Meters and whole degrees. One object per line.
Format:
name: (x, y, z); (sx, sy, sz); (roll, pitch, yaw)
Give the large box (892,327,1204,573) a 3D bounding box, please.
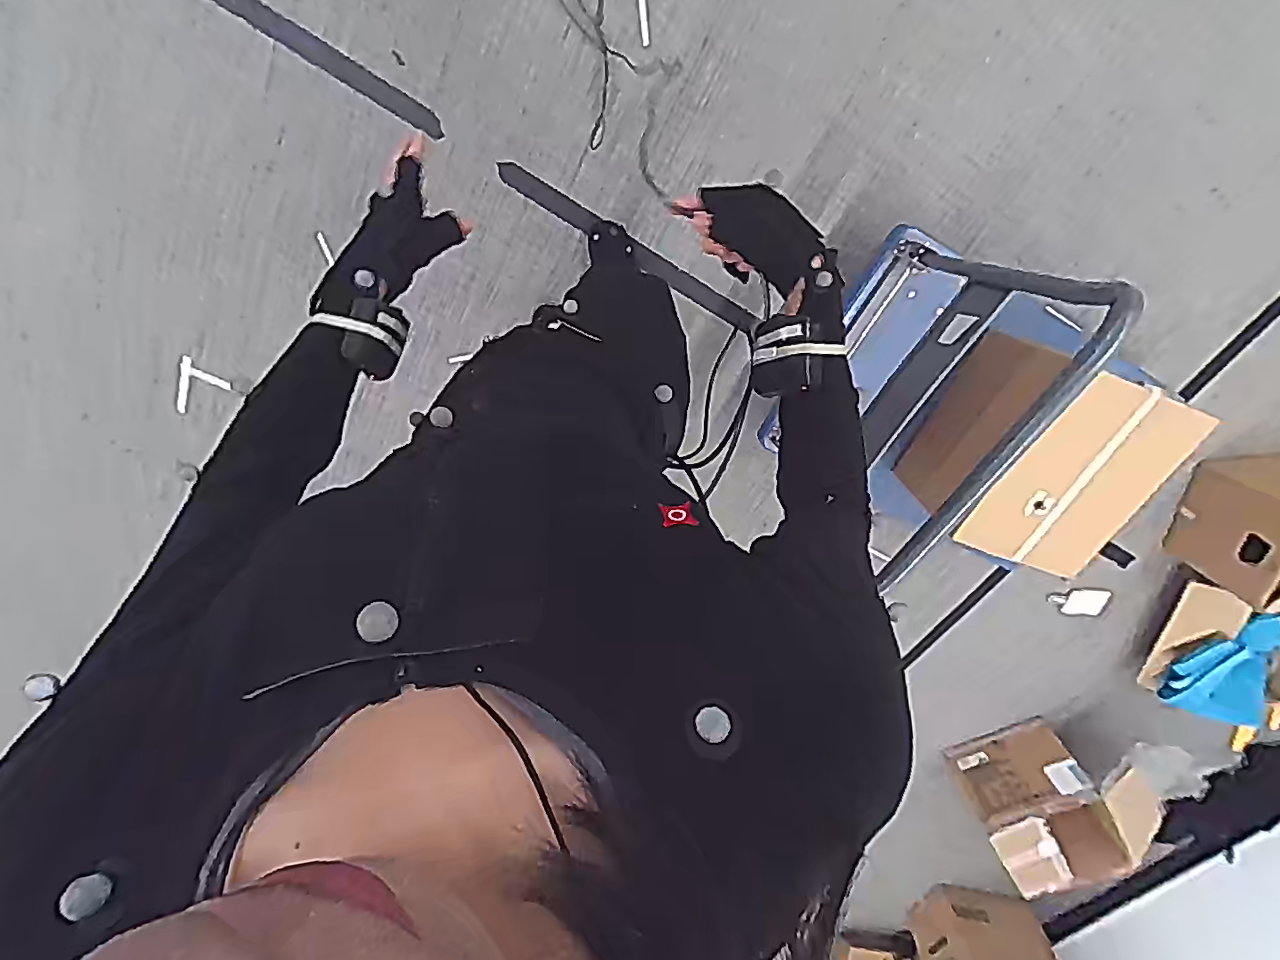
large box: (0.855, -0.074, 1.207); (0.320, 0.320, 0.408); (19, 117, -9)
